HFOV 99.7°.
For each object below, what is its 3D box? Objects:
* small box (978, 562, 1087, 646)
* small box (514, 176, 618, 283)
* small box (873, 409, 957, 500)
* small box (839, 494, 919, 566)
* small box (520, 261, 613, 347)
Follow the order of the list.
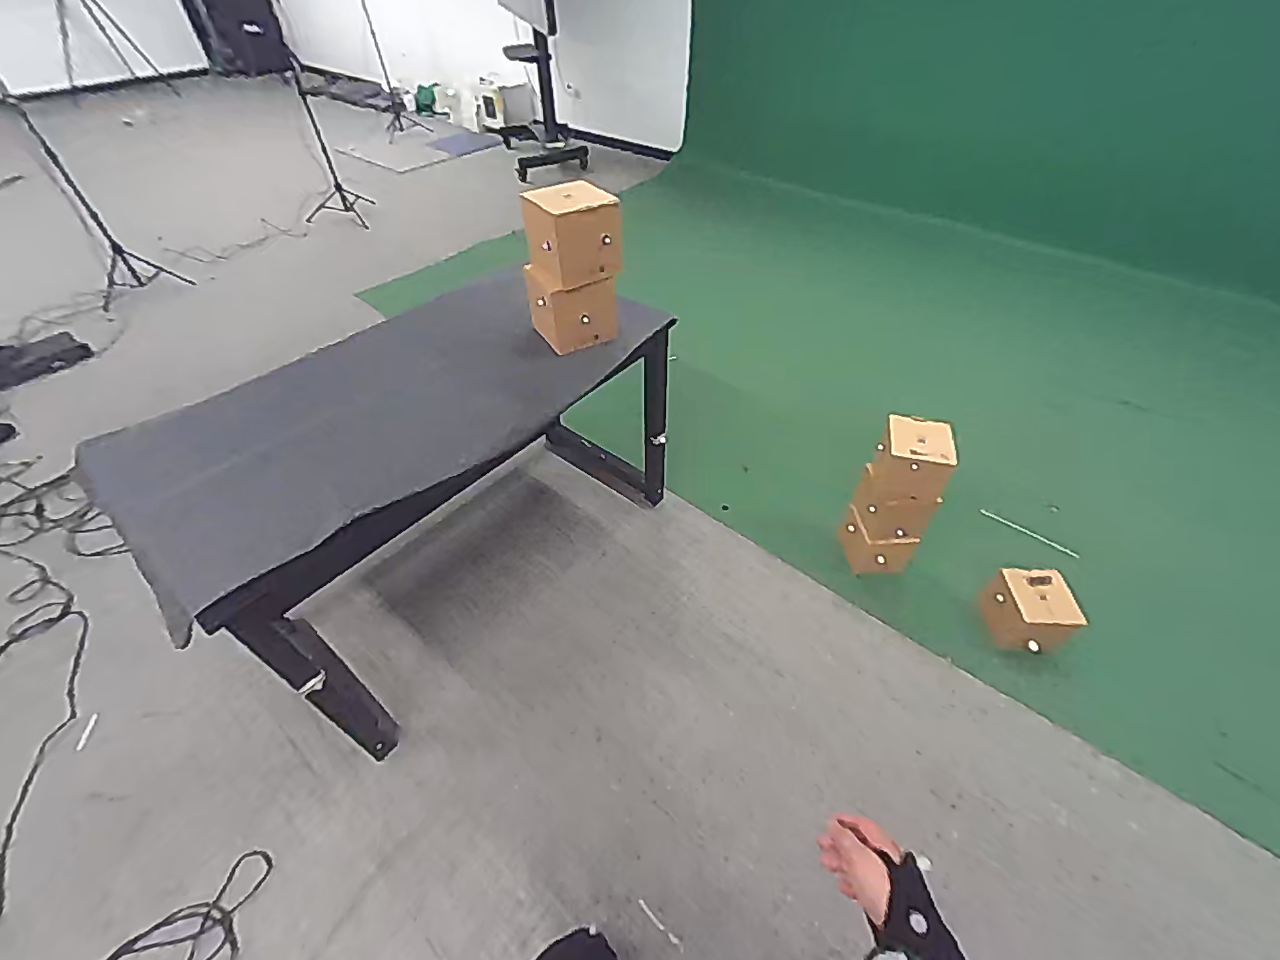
[{"bbox_3d":[1.123,0.359,1.566,0.168,0.176,0.179,1,48,2],"label":"small box"},{"bbox_3d":[-0.163,-0.567,1.233,0.168,0.176,0.179,-27,49,-23],"label":"small box"},{"bbox_3d":[0.768,-0.072,1.530,0.168,0.176,0.179,10,48,11],"label":"small box"},{"bbox_3d":[0.768,0.168,1.755,0.168,0.176,0.179,-4,46,-2],"label":"small box"},{"bbox_3d":[-0.178,-0.449,1.345,0.168,0.176,0.179,-23,48,-20],"label":"small box"}]
